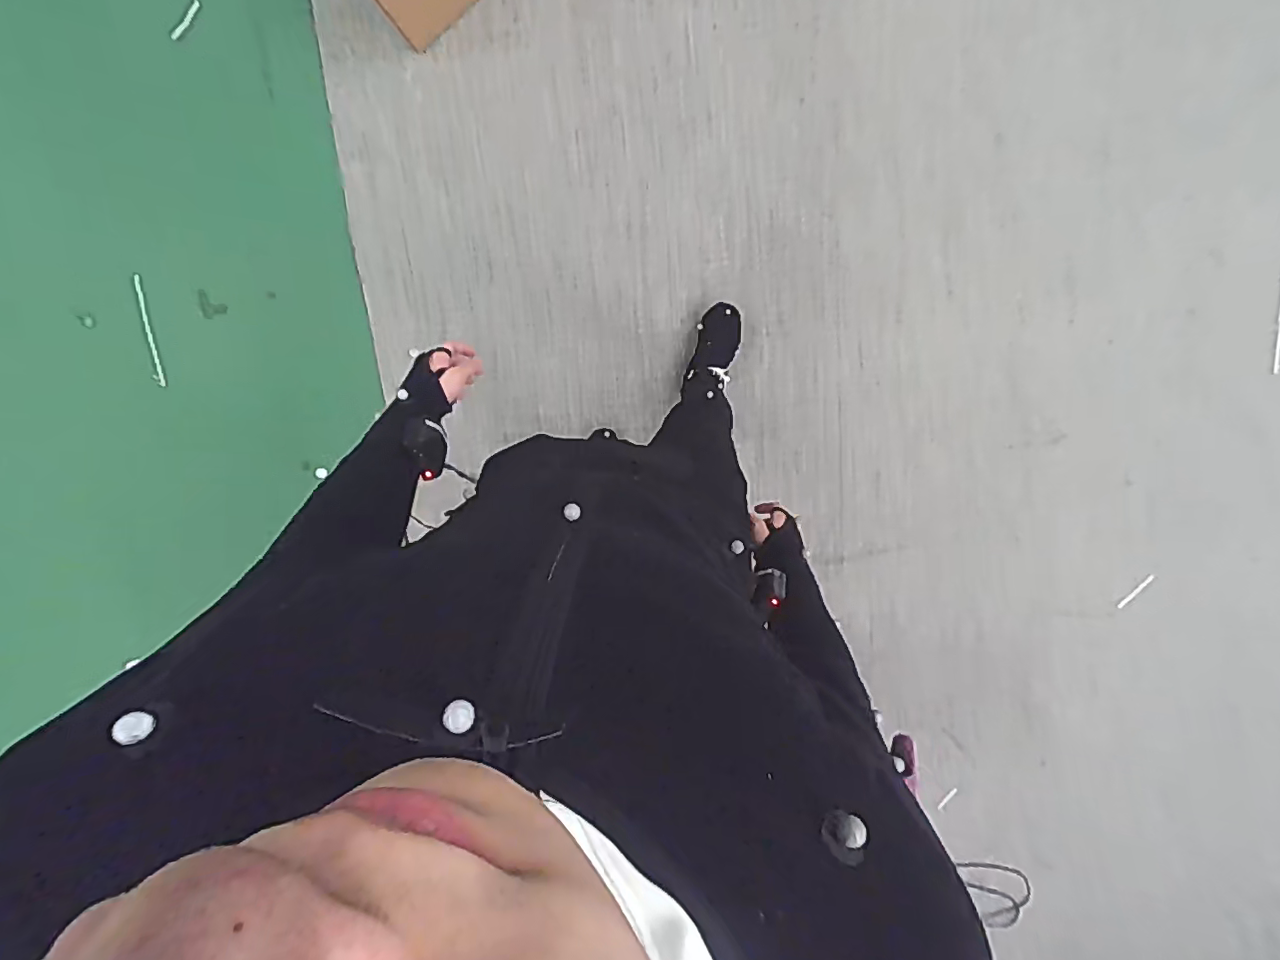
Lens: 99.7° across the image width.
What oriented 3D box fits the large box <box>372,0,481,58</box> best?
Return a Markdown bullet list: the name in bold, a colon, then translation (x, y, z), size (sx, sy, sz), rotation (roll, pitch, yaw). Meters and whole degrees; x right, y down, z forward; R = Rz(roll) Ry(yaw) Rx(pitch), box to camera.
- **large box**: translation (-0.516, -1.303, 1.219), size (0.408, 0.320, 0.320), rotation (-38, 97, 9)
